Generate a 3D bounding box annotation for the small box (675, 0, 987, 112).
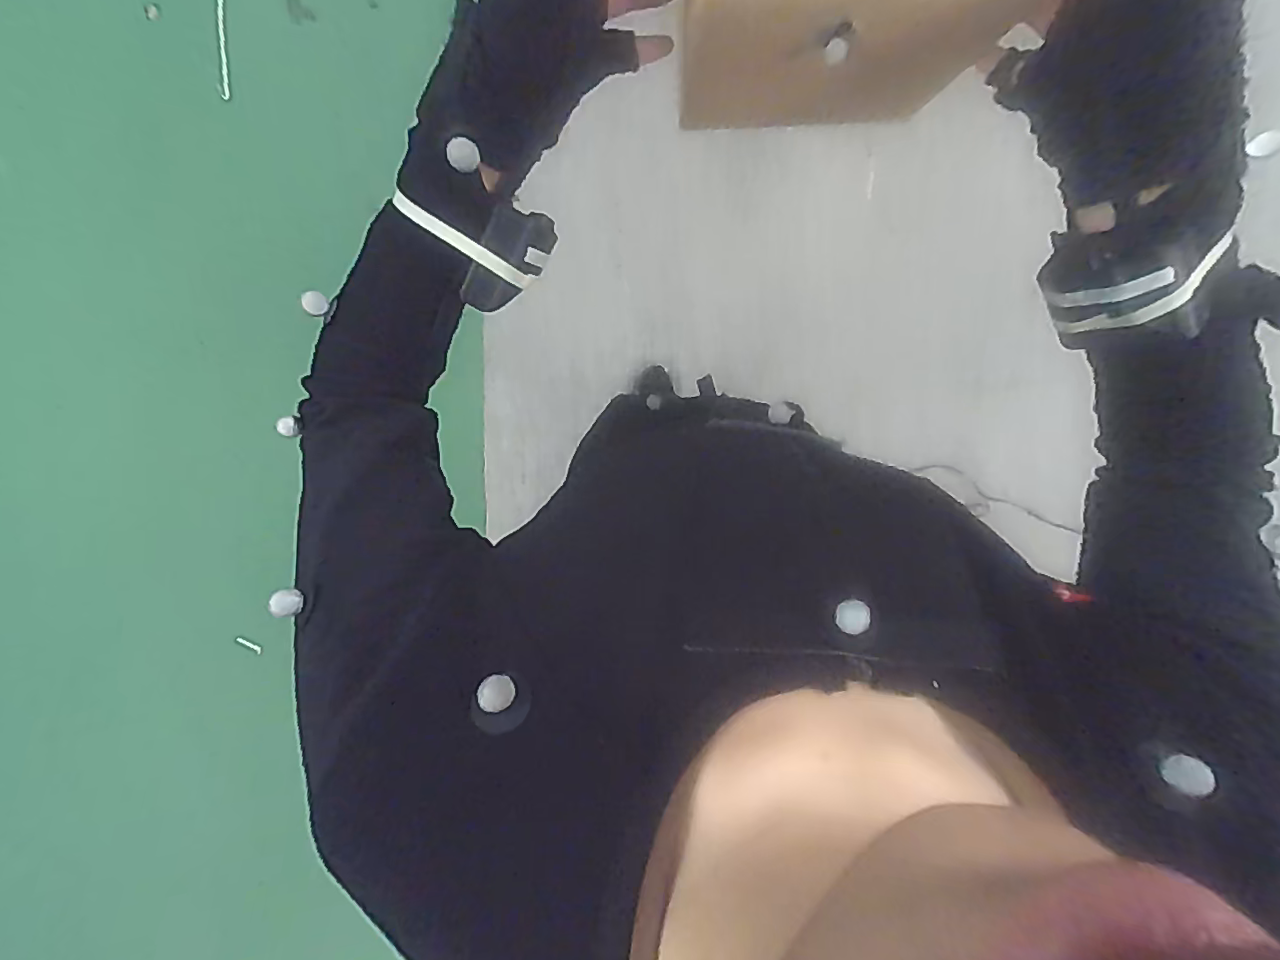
[{"bbox_3d":[0.110,-0.341,0.316,0.179,0.176,0.168,-2,104,0],"label":"small box"}]
